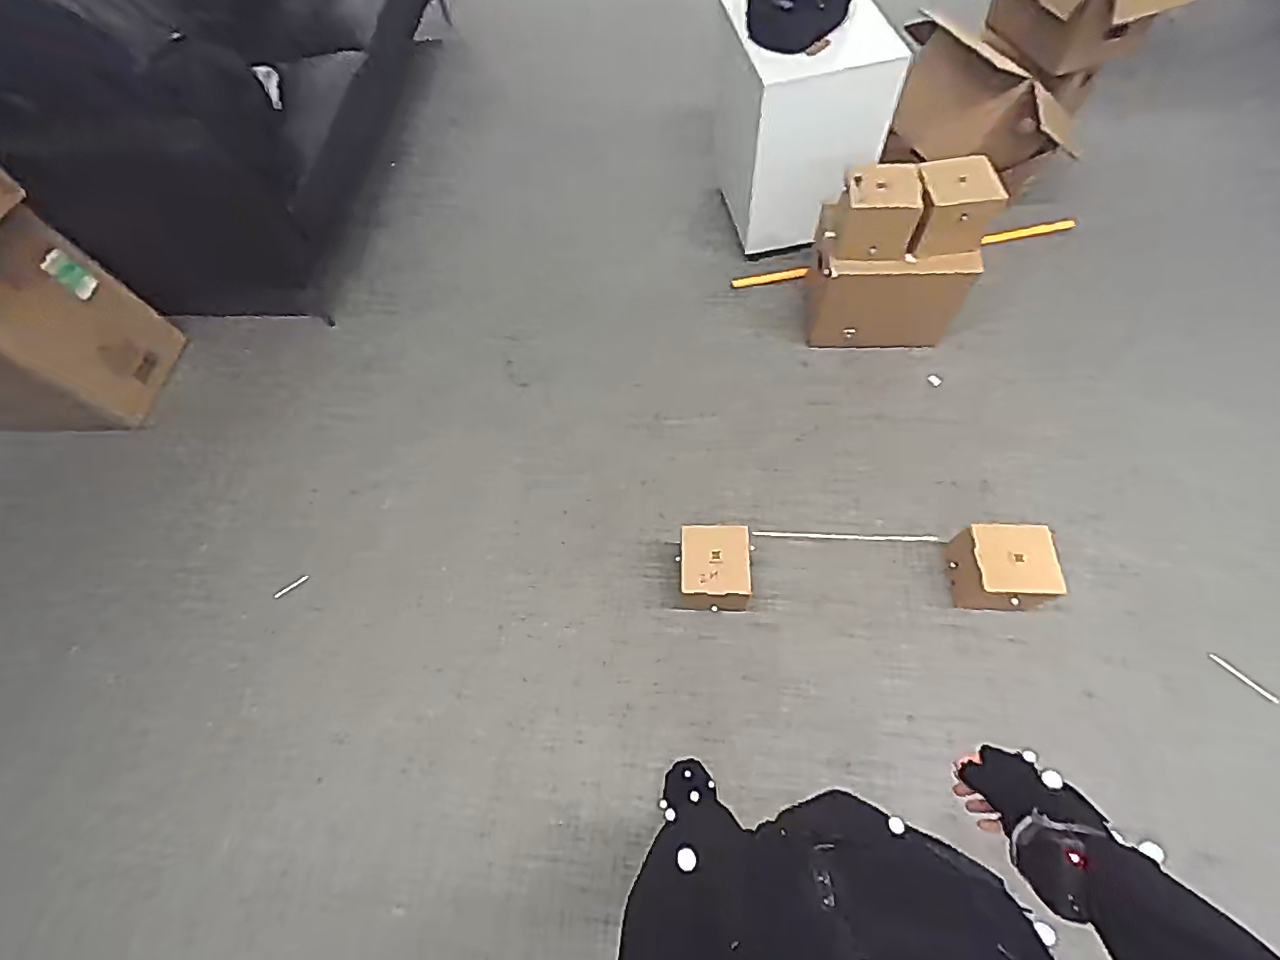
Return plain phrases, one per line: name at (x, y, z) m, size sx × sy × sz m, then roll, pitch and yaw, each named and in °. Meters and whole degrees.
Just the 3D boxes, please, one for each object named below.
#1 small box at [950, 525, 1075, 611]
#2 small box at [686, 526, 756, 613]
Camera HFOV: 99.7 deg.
small box at (0.883, 0.216, 1.301) m, size 0.179 × 0.176 × 0.168 m, roll 0°, pitch 64°, yaw 7°
small box at (0.201, 0.229, 1.368) m, size 0.168 × 0.176 × 0.179 m, roll 0°, pitch 64°, yaw 6°
